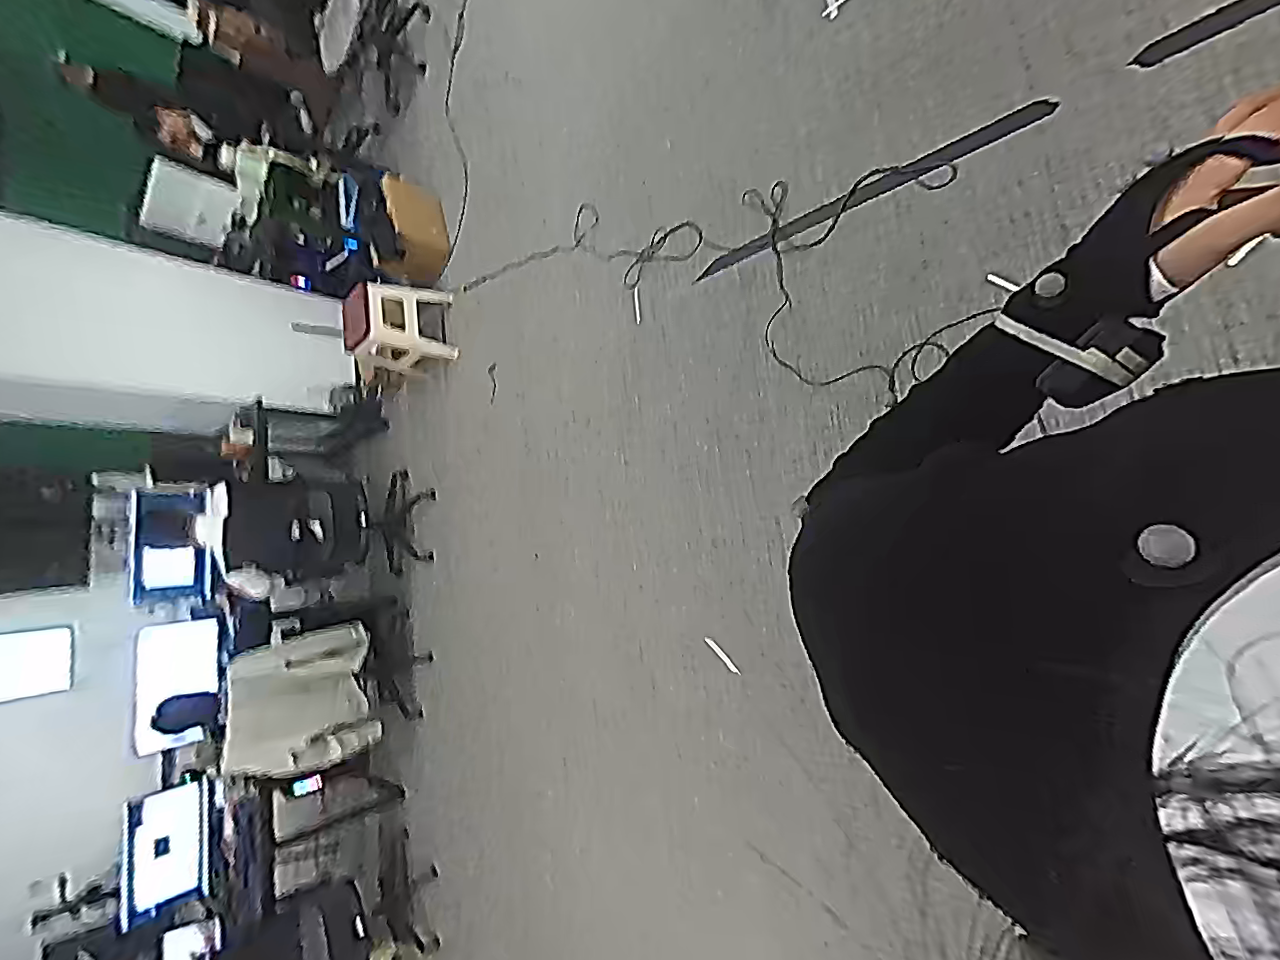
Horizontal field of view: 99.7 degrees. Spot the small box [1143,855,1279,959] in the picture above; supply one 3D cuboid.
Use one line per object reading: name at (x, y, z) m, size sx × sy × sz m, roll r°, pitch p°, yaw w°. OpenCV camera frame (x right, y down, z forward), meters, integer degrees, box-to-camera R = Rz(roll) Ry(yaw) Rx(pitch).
small box at (0.721, 0.588, 0.632) m, size 0.168 × 0.176 × 0.179 m, roll -15°, pitch 76°, yaw 41°
